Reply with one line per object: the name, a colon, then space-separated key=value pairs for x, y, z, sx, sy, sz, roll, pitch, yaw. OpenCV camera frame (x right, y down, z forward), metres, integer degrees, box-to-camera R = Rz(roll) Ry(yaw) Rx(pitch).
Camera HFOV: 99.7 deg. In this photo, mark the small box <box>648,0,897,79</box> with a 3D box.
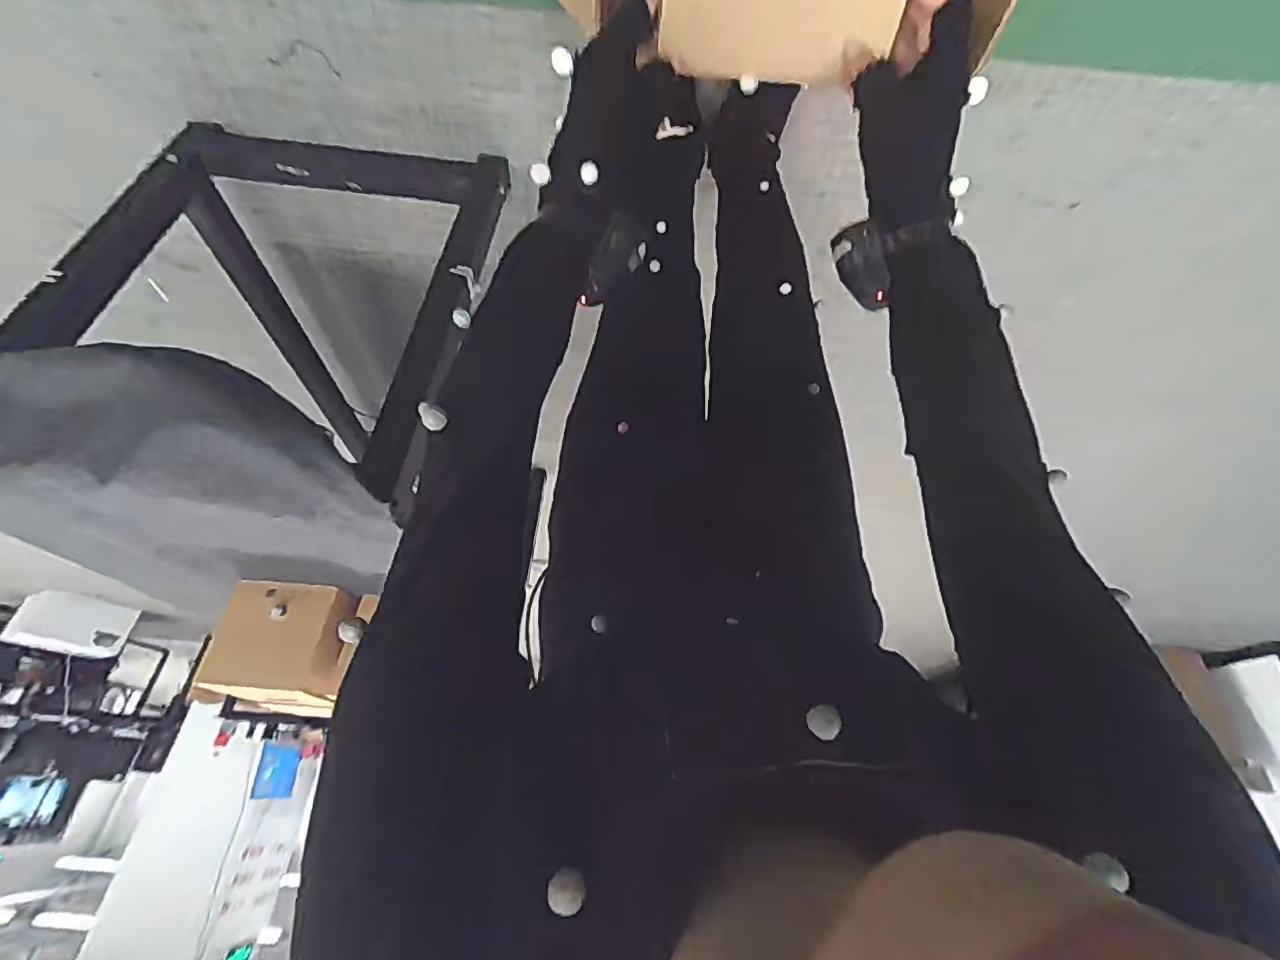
small box: x=0.099 y=-0.428 z=0.405 sx=0.179 sy=0.176 sz=0.168 roll=3 pitch=140 yaw=0
